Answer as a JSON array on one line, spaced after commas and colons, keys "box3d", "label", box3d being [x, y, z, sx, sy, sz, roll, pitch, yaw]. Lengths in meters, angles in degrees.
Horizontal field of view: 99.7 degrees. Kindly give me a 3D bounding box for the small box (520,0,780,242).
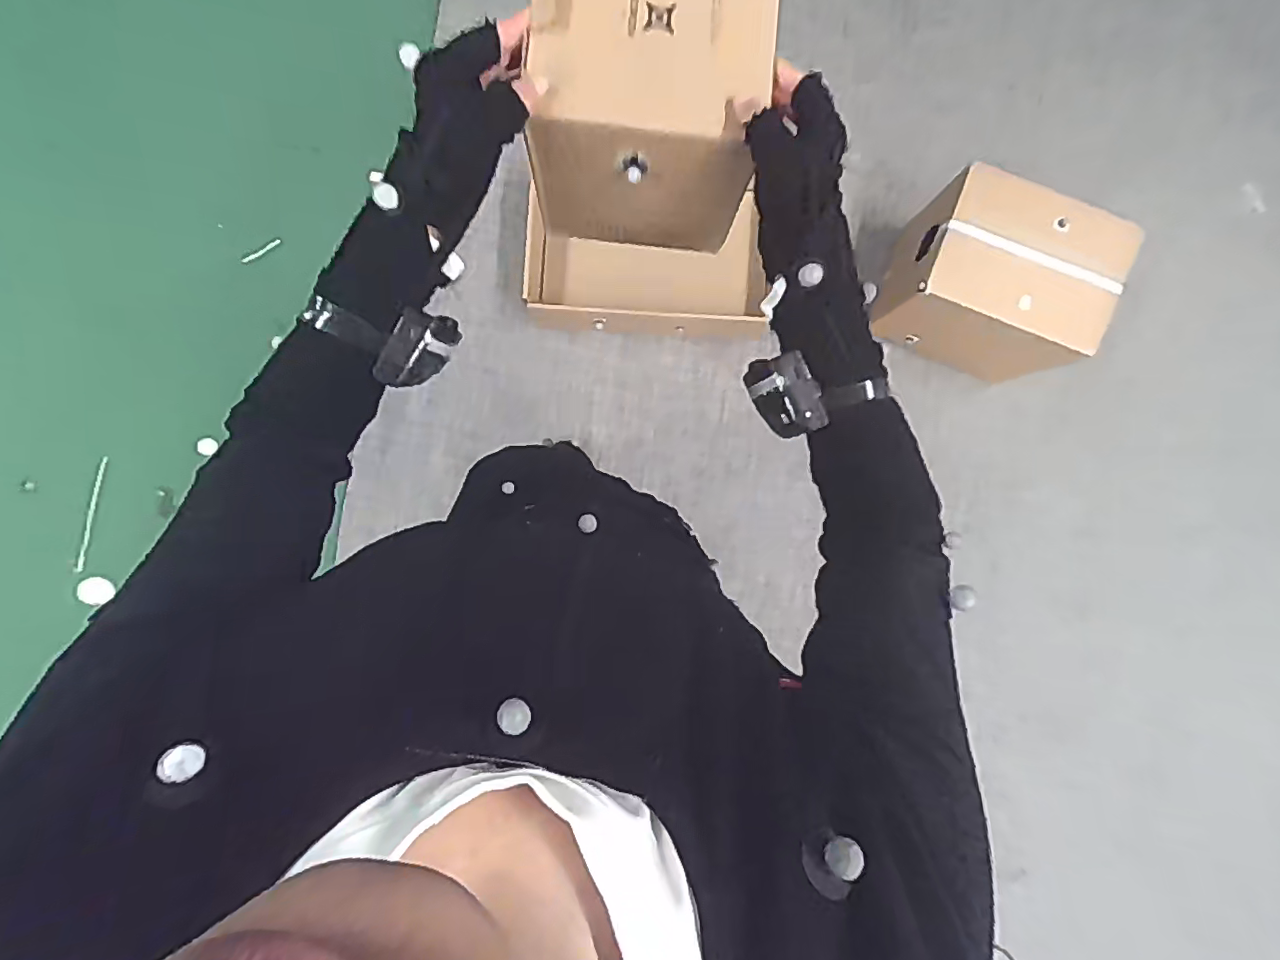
[{"box3d": [0.007, -0.323, 0.454, 0.179, 0.176, 0.168, 5, 87, -4], "label": "small box"}]
